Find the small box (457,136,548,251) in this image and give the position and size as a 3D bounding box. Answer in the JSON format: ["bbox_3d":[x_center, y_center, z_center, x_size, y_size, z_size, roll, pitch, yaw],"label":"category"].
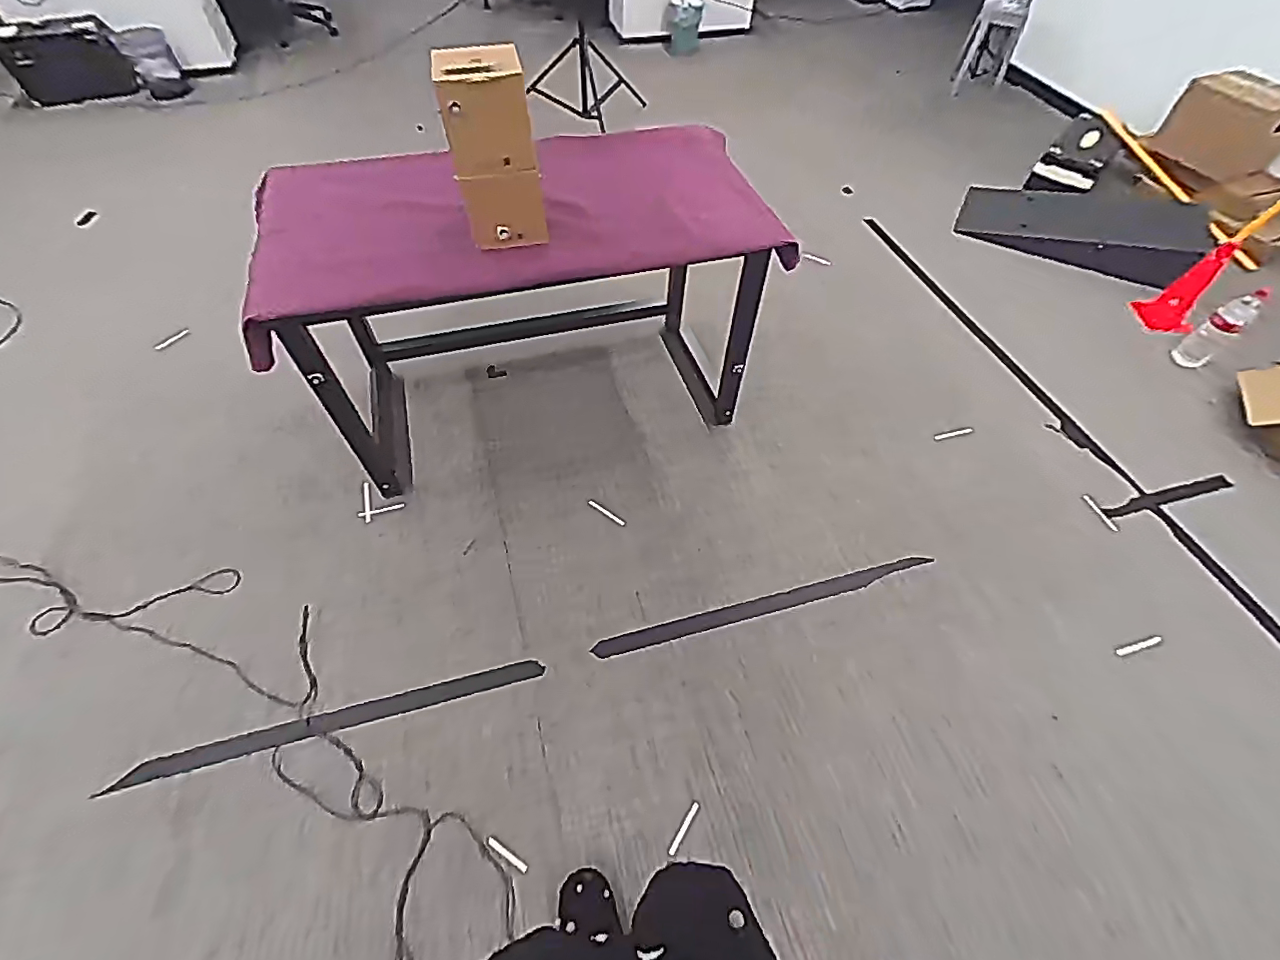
[{"bbox_3d":[-0.310,-0.650,1.232,0.168,0.176,0.179,-12,56,-8],"label":"small box"}]
